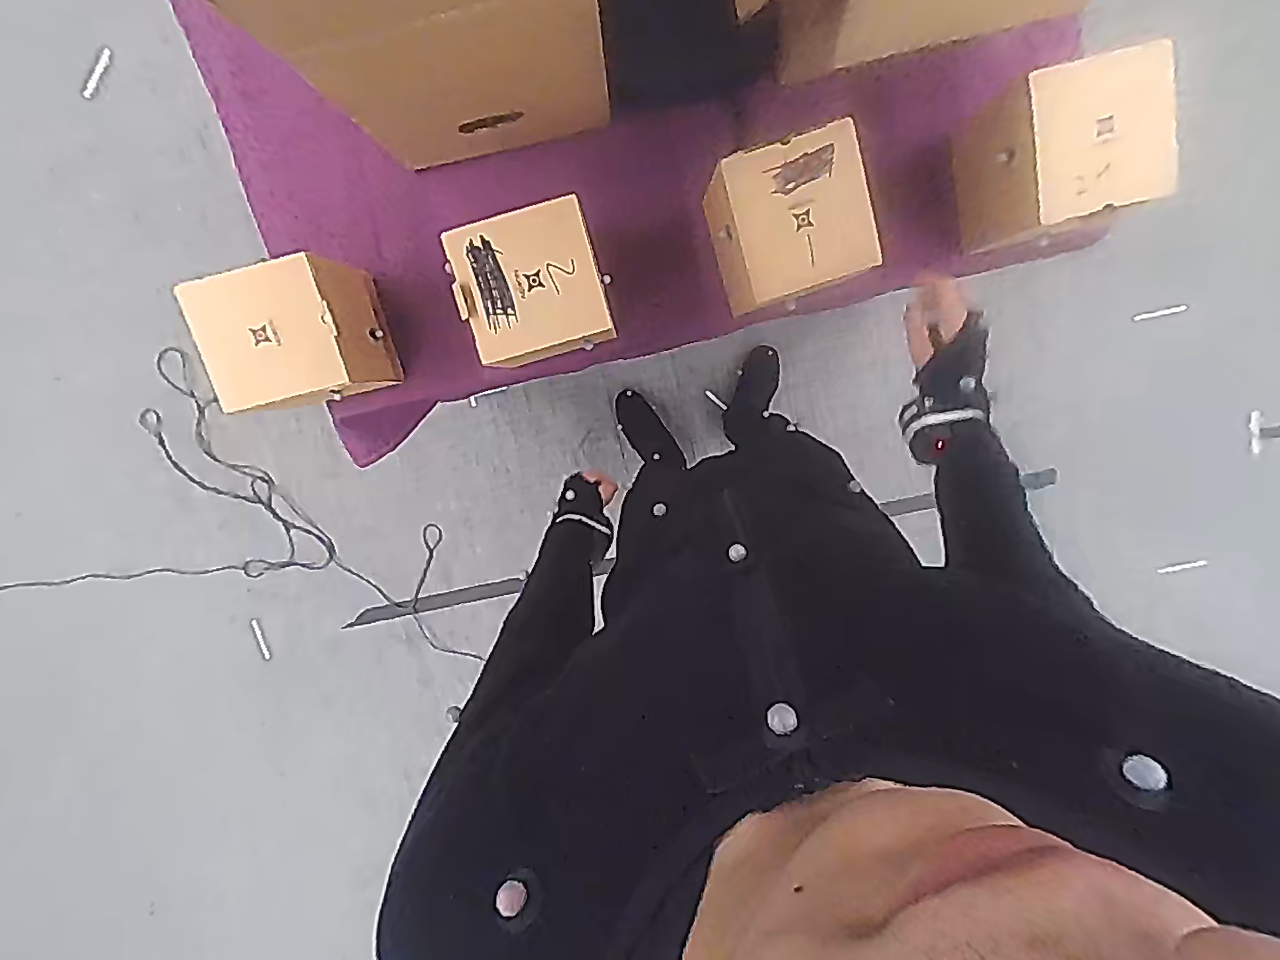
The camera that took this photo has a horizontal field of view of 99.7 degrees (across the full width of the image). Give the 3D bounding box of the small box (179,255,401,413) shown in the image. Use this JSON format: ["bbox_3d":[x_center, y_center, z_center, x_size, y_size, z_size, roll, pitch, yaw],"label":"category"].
[{"bbox_3d":[-0.473,-0.195,0.760,0.179,0.176,0.168,-14,101,1],"label":"small box"}]

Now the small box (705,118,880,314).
[{"bbox_3d":[0.194,-0.341,0.735,0.168,0.176,0.179,-17,102,3],"label":"small box"}]

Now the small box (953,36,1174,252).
[{"bbox_3d":[0.544,-0.426,0.717,0.168,0.176,0.179,-12,101,4],"label":"small box"}]
